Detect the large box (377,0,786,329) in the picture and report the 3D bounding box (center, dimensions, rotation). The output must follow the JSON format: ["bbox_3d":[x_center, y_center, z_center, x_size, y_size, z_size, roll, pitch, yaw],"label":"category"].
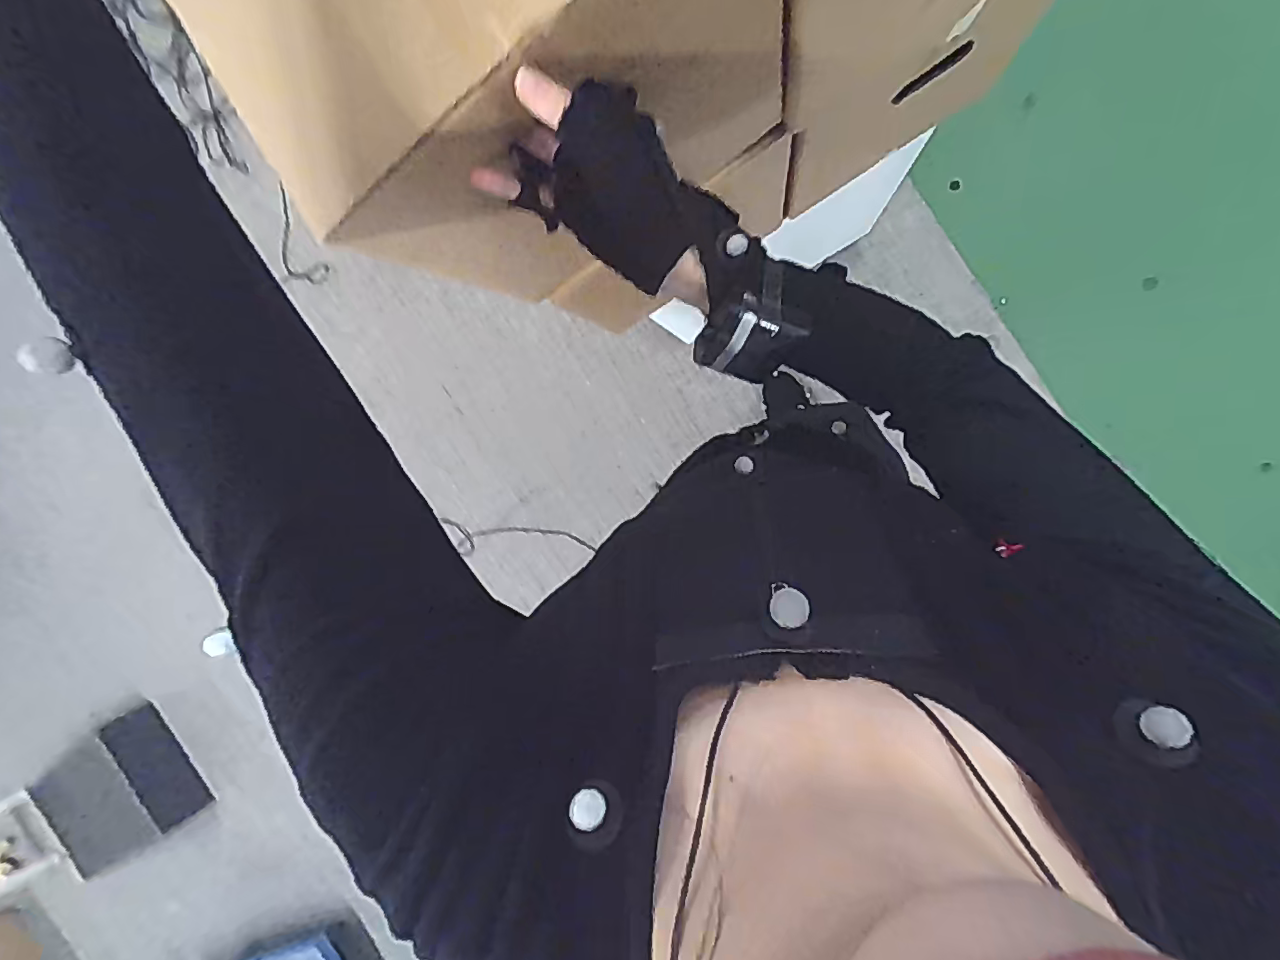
[{"bbox_3d":[-0.044,-0.474,0.726,0.320,0.320,0.408,-31,89,14],"label":"large box"}]
